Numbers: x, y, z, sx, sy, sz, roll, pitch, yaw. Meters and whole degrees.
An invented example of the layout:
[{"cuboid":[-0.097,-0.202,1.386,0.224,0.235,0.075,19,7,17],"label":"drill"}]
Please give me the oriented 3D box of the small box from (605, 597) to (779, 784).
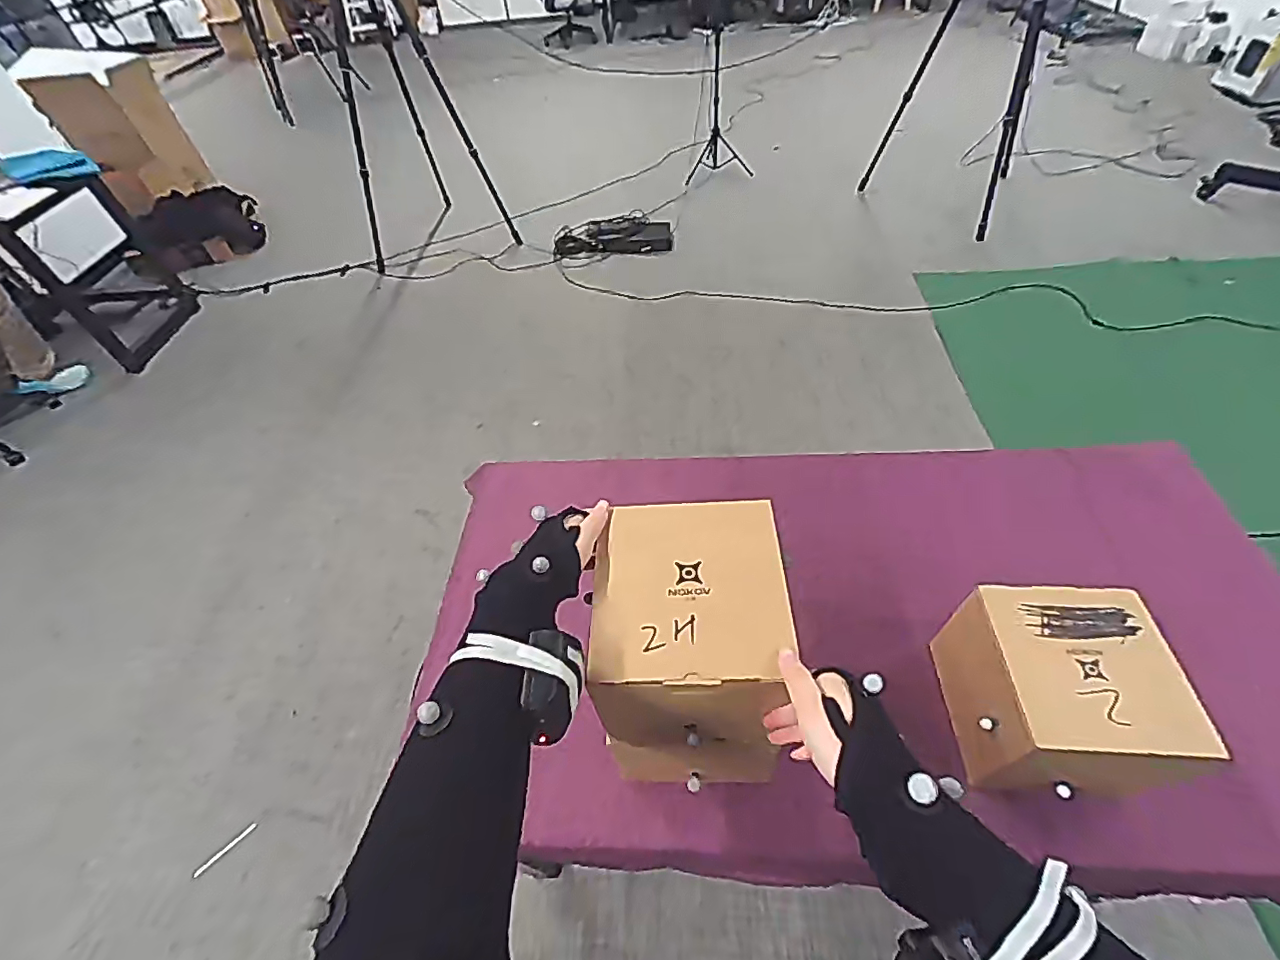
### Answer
[{"cuboid":[0.057,0.254,0.649,0.179,0.176,0.168,-2,49,3],"label":"small box"}]
